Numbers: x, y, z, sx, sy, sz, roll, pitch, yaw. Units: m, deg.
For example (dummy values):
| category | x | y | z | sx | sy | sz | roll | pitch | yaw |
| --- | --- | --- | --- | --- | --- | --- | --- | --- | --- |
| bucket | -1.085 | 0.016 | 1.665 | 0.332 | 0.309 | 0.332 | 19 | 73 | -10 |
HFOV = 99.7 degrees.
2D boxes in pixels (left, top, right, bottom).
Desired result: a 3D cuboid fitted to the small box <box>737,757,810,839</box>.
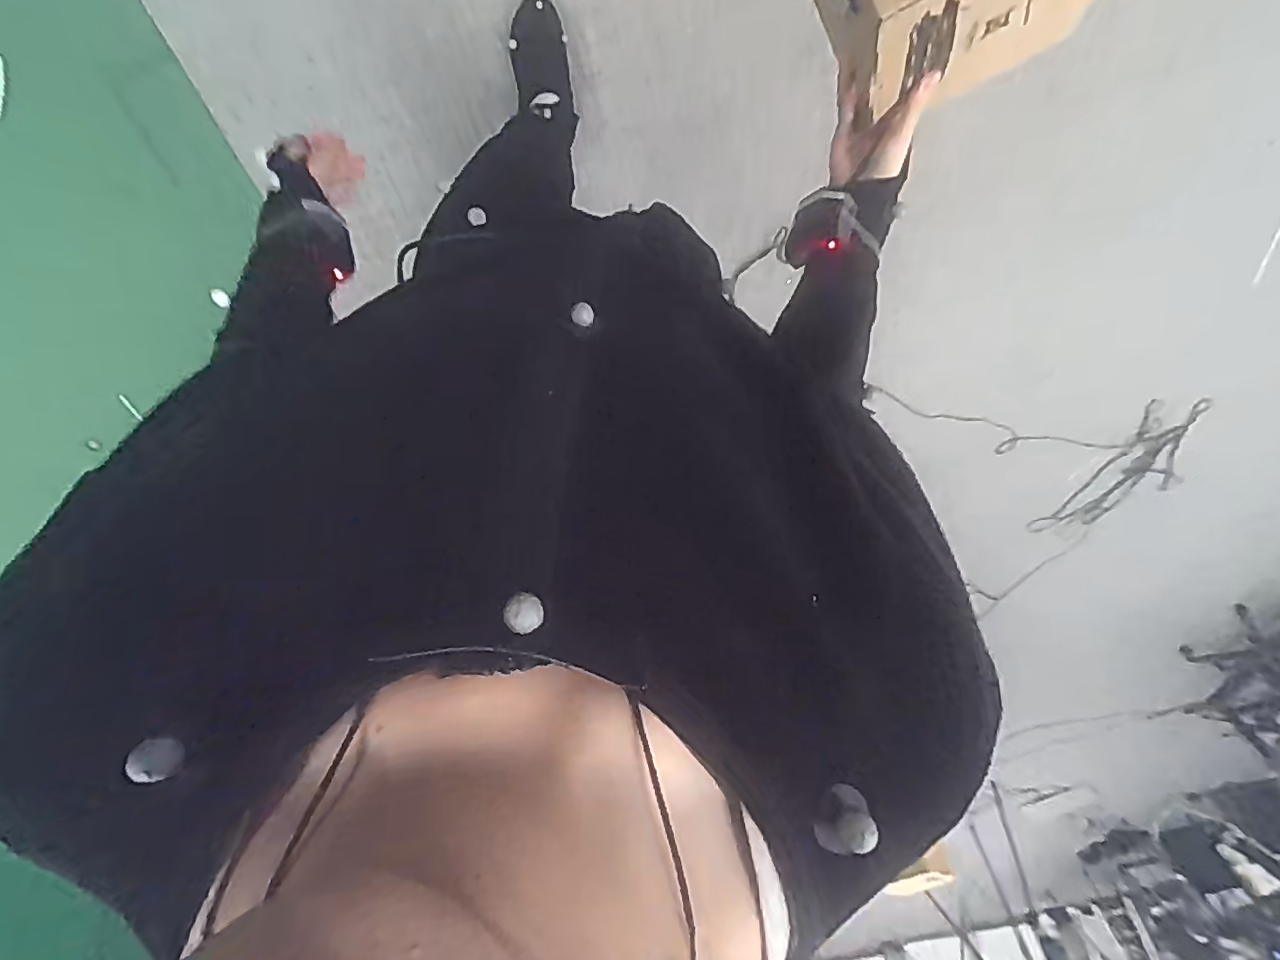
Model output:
| category | x | y | z | sx | sy | sz | roll | pitch | yaw |
| --- | --- | --- | --- | --- | --- | --- | --- | --- | --- |
| small box | 0.391 | 0.948 | 1.601 | 0.168 | 0.176 | 0.179 | -12 | 131 | 1 |

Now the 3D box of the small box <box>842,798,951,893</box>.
| category | x | y | z | sx | sy | sz | roll | pitch | yaw |
| --- | --- | --- | --- | --- | --- | --- | --- | --- | --- |
| small box | 0.683 | 0.983 | 1.456 | 0.168 | 0.176 | 0.179 | 32 | 120 | -30 |

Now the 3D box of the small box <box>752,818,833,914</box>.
| category | x | y | z | sx | sy | sz | roll | pitch | yaw |
| --- | --- | --- | --- | --- | --- | --- | --- | --- | --- |
| small box | 0.406 | 1.039 | 1.467 | 0.168 | 0.176 | 0.179 | -13 | 132 | 1 |
